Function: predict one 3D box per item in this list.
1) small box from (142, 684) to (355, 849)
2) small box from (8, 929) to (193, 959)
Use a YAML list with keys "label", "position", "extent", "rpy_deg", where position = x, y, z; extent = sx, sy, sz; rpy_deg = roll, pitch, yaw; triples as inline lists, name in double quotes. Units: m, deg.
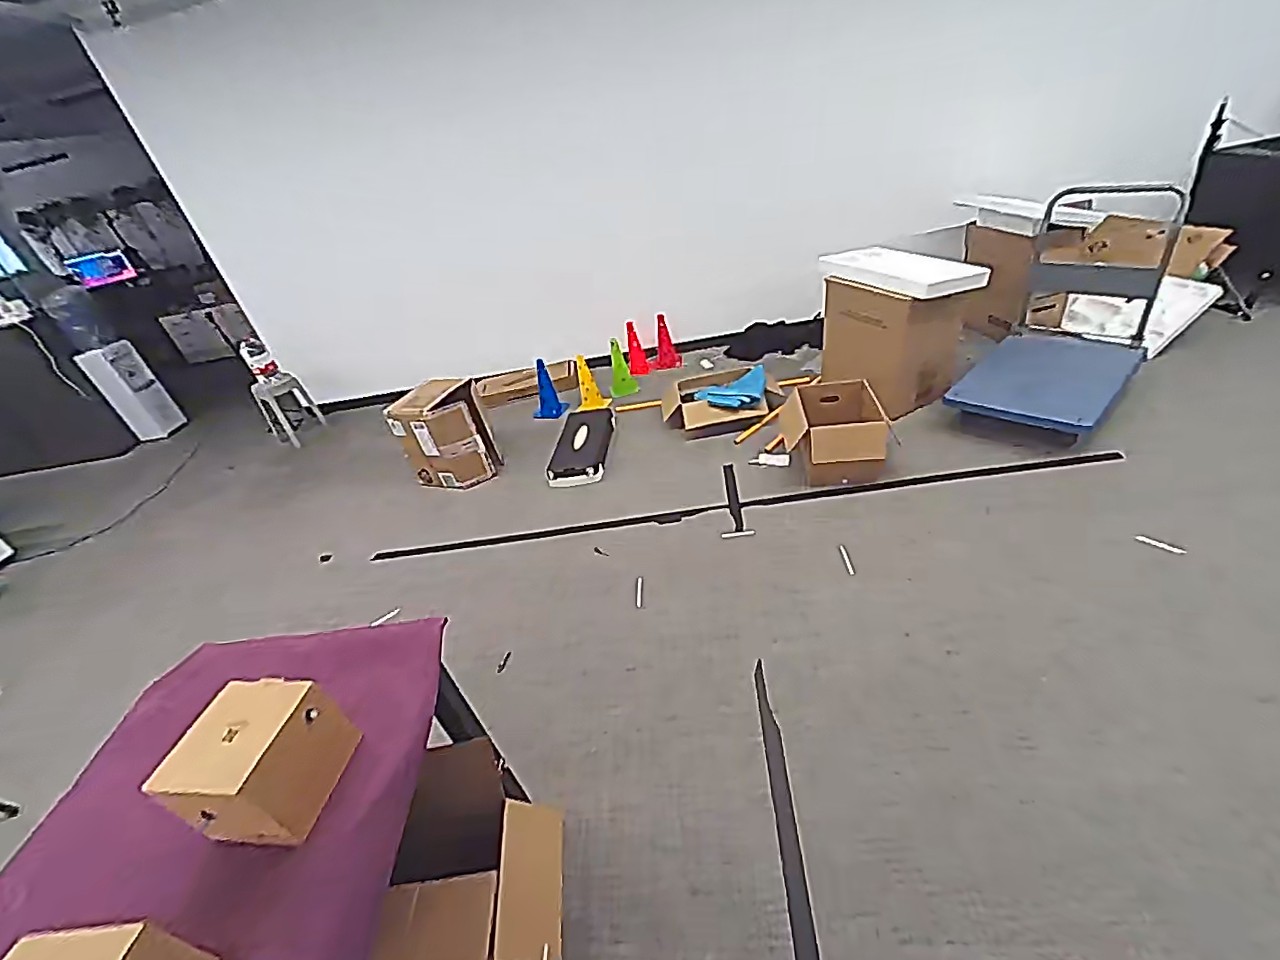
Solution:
- label: "small box"
  position: [-0.587, 0.445, 0.842]
  extent: [0.168, 0.176, 0.179]
  rpy_deg: [-5, 34, 12]
- label: "small box"
  position: [-0.608, 0.625, 0.580]
  extent: [0.168, 0.176, 0.179]
  rpy_deg: [-11, 33, 7]
